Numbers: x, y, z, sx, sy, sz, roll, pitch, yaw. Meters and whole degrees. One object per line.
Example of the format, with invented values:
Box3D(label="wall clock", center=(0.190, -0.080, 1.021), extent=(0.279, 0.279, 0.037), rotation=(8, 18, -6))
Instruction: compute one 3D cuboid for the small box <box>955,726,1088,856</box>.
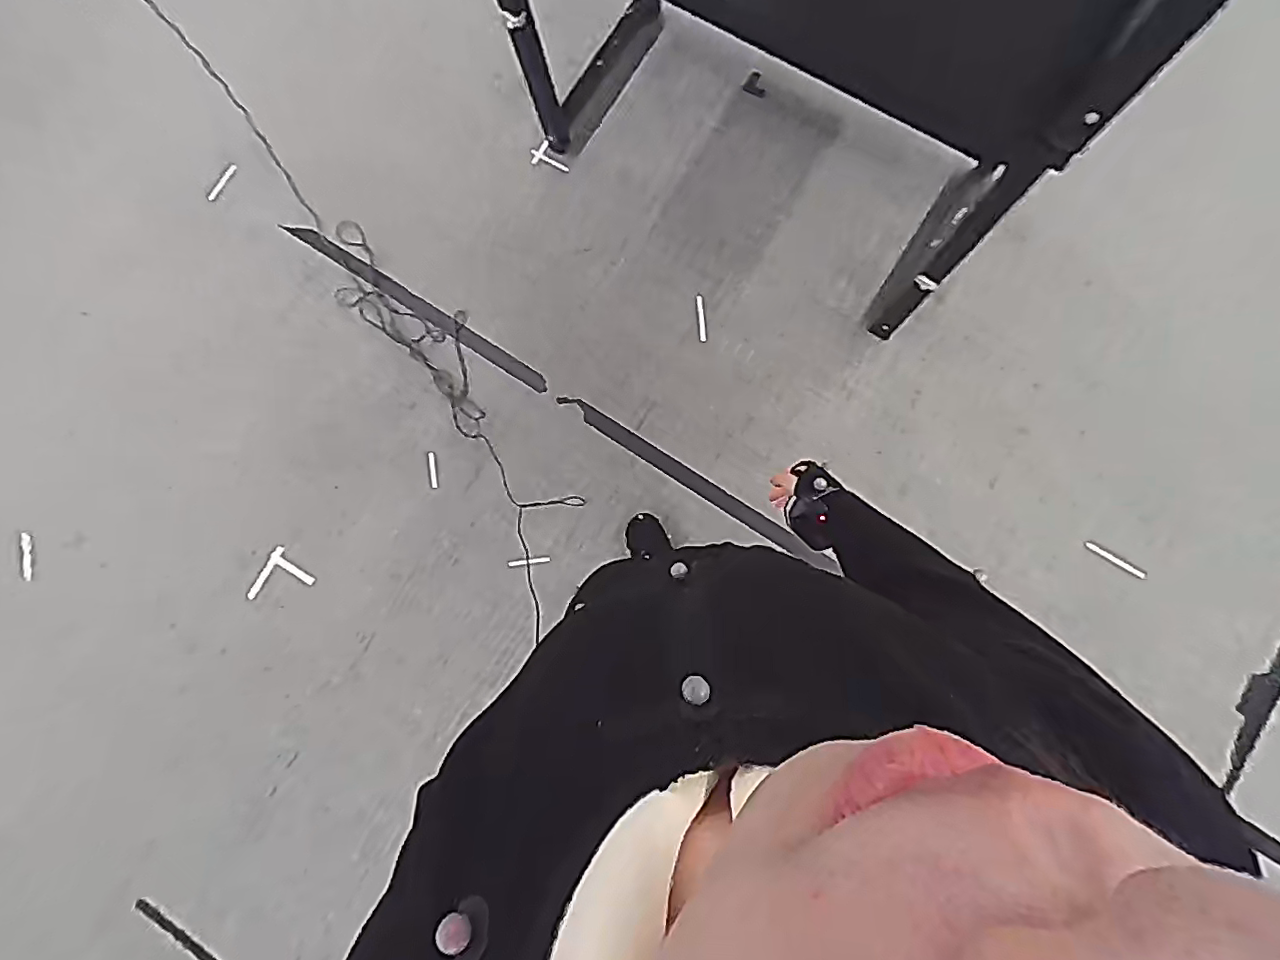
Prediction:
Box3D(label="small box", center=(0.892, 0.729, 1.290), extent=(0.168, 0.176, 0.179), rotation=(35, 88, 8))
